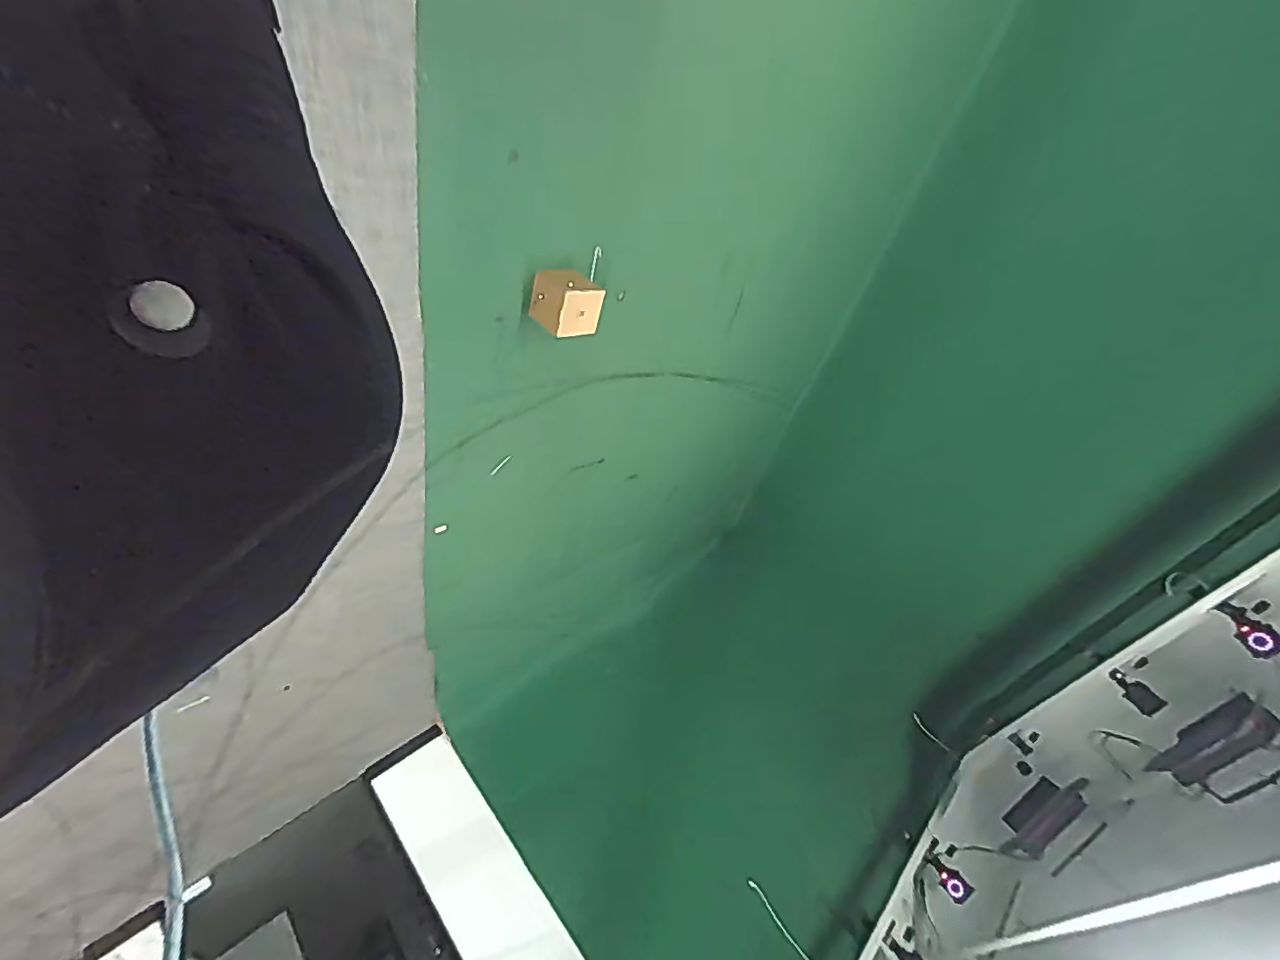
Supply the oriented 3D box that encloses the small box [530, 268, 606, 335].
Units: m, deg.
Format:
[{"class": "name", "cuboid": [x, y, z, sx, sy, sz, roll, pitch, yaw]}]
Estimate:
[{"class": "small box", "cuboid": [-0.253, -0.624, 1.874, 0.179, 0.176, 0.168, -21, 143, -41]}]
